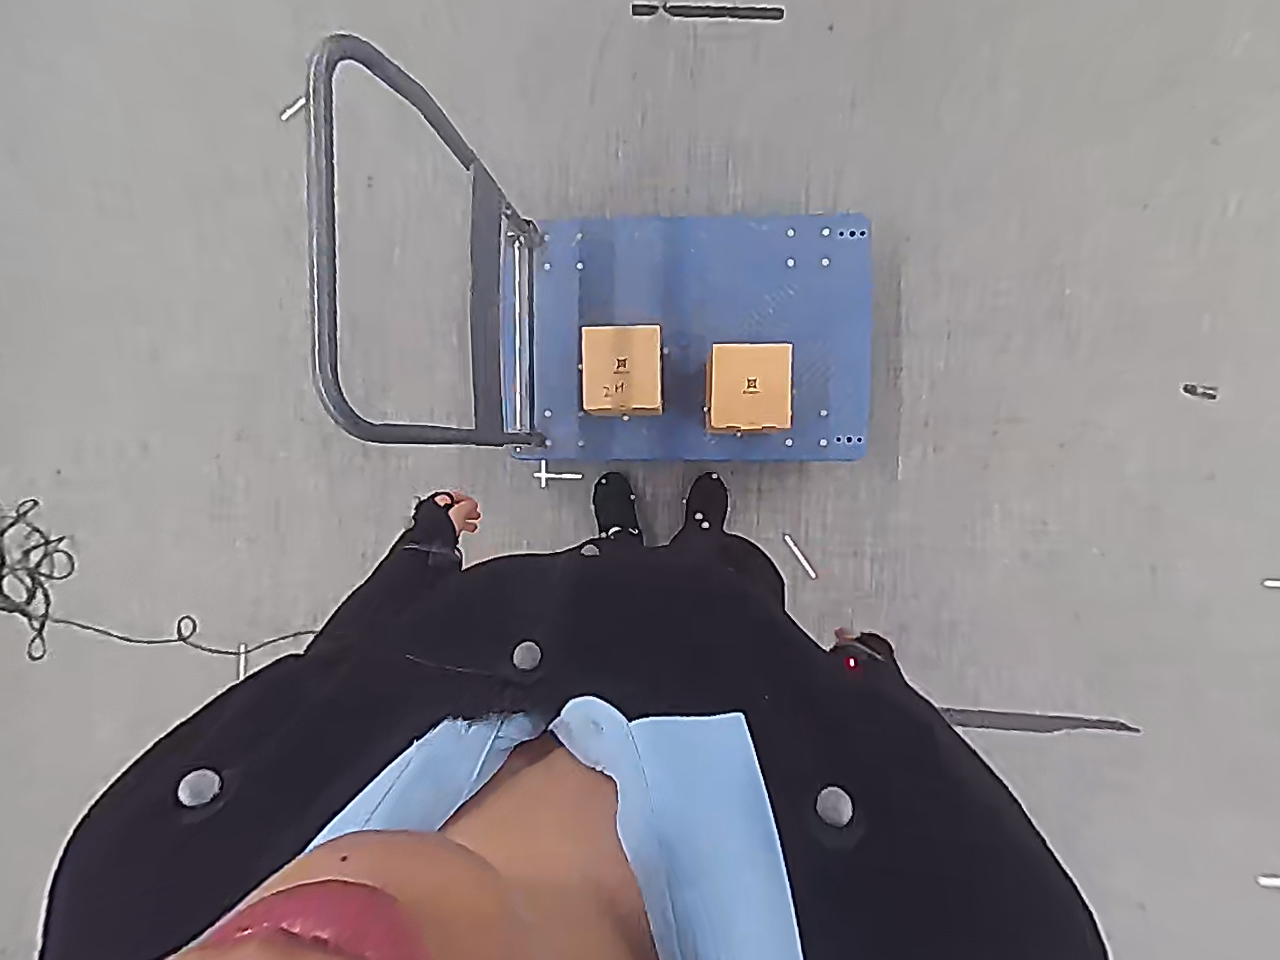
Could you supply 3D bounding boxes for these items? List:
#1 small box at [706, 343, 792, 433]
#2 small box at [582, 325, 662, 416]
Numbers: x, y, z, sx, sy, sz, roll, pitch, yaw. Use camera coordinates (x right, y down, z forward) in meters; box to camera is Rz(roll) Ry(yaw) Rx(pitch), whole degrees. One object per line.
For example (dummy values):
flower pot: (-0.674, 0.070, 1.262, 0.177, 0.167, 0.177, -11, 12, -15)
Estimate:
small box: (0.234, -0.198, 1.199, 0.168, 0.176, 0.179, 0, 92, 3)
small box: (-0.036, -0.239, 1.211, 0.168, 0.176, 0.179, 0, 93, 4)
